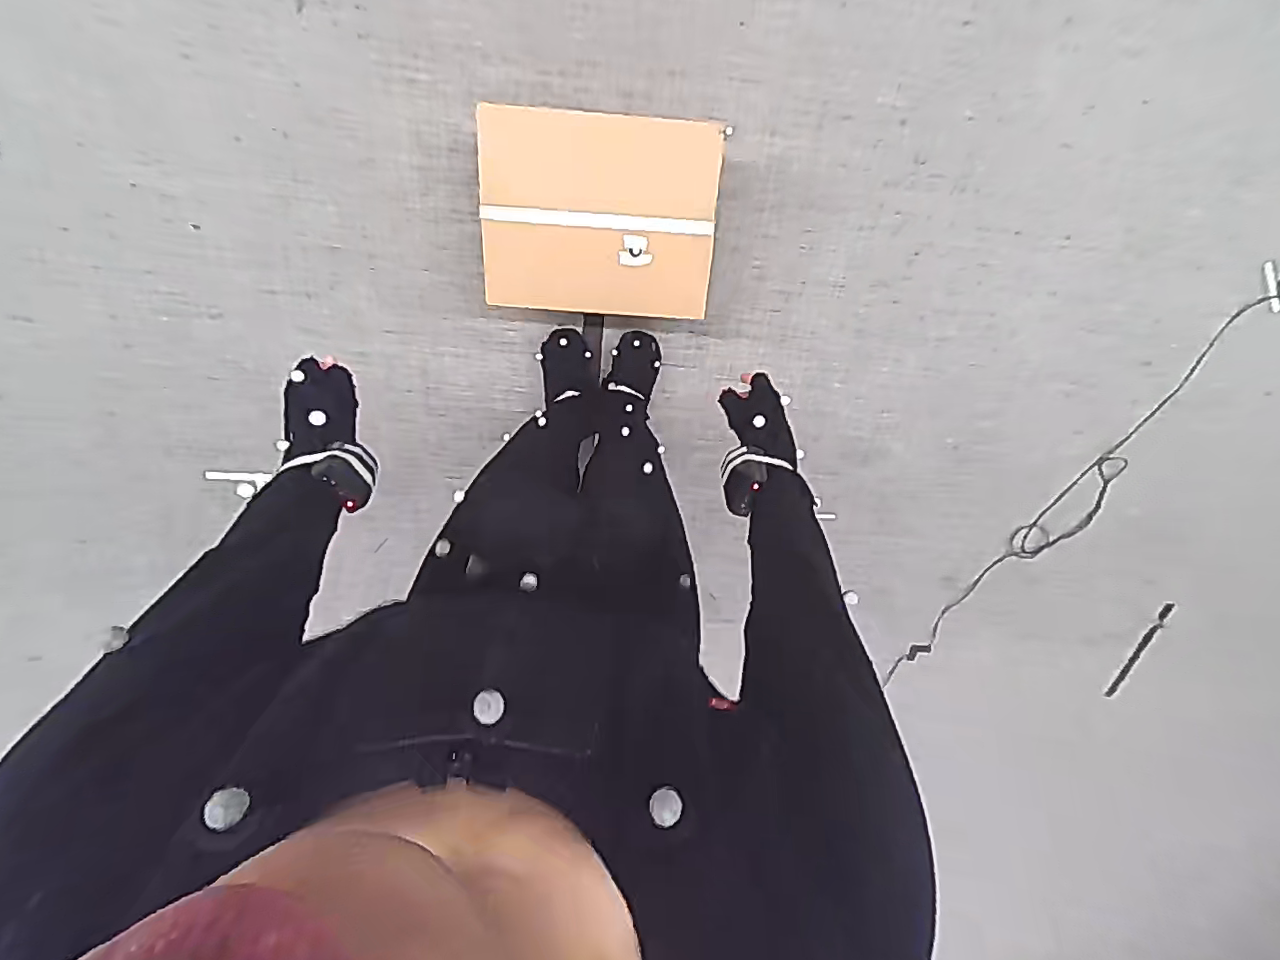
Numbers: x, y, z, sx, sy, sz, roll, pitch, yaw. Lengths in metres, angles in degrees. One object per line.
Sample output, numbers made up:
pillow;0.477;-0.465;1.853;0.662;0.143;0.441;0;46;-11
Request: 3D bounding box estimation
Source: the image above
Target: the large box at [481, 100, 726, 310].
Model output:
large box;-0.071;-0.523;1.069;0.408;0.320;0.320;2;116;-4
